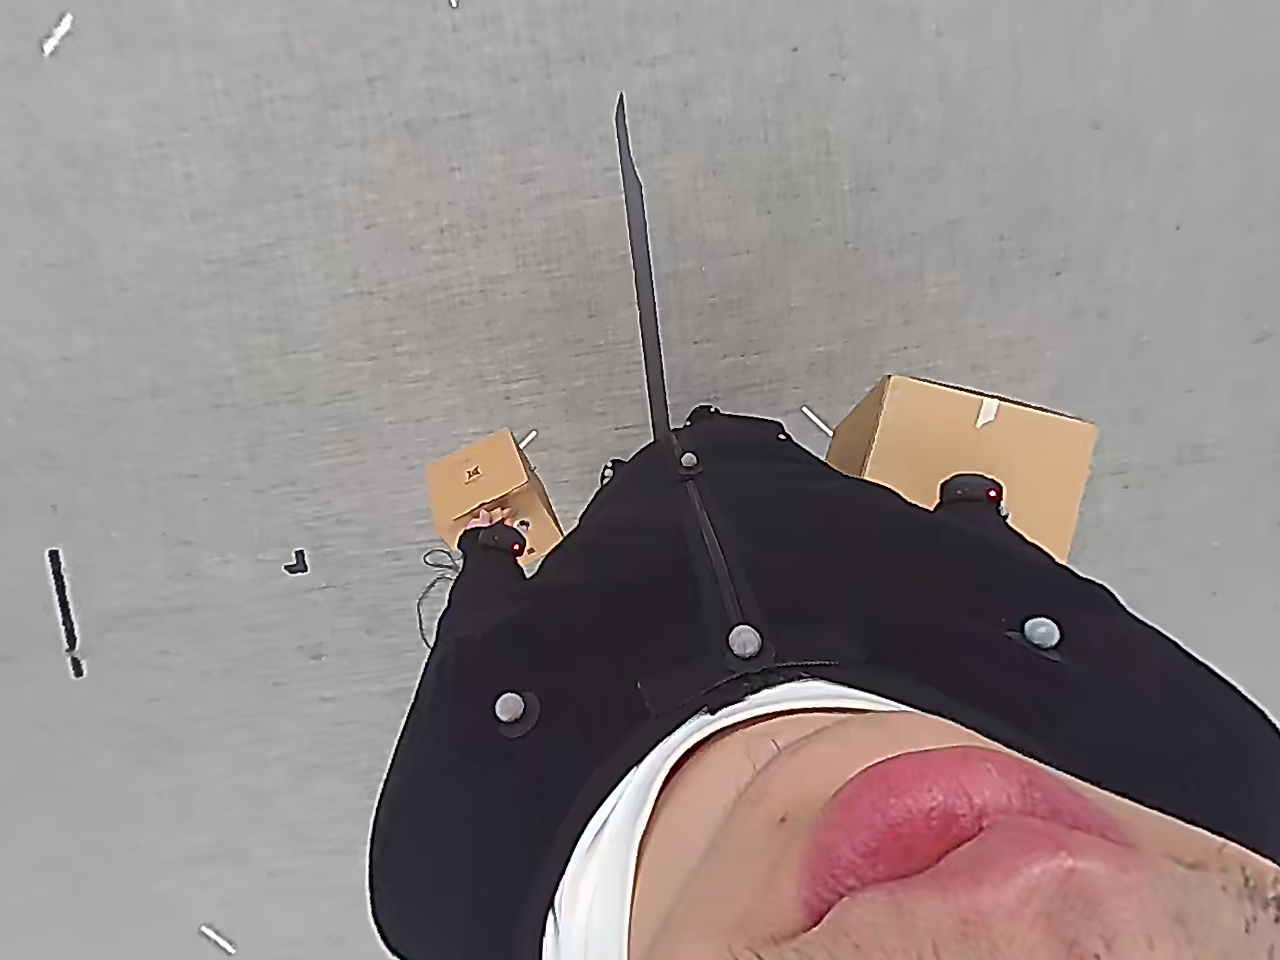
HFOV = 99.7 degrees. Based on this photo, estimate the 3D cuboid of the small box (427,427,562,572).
[{"bbox_3d":[-0.259,0.043,0.978,0.168,0.179,0.176,-27,134,-6],"label":"small box"}]
